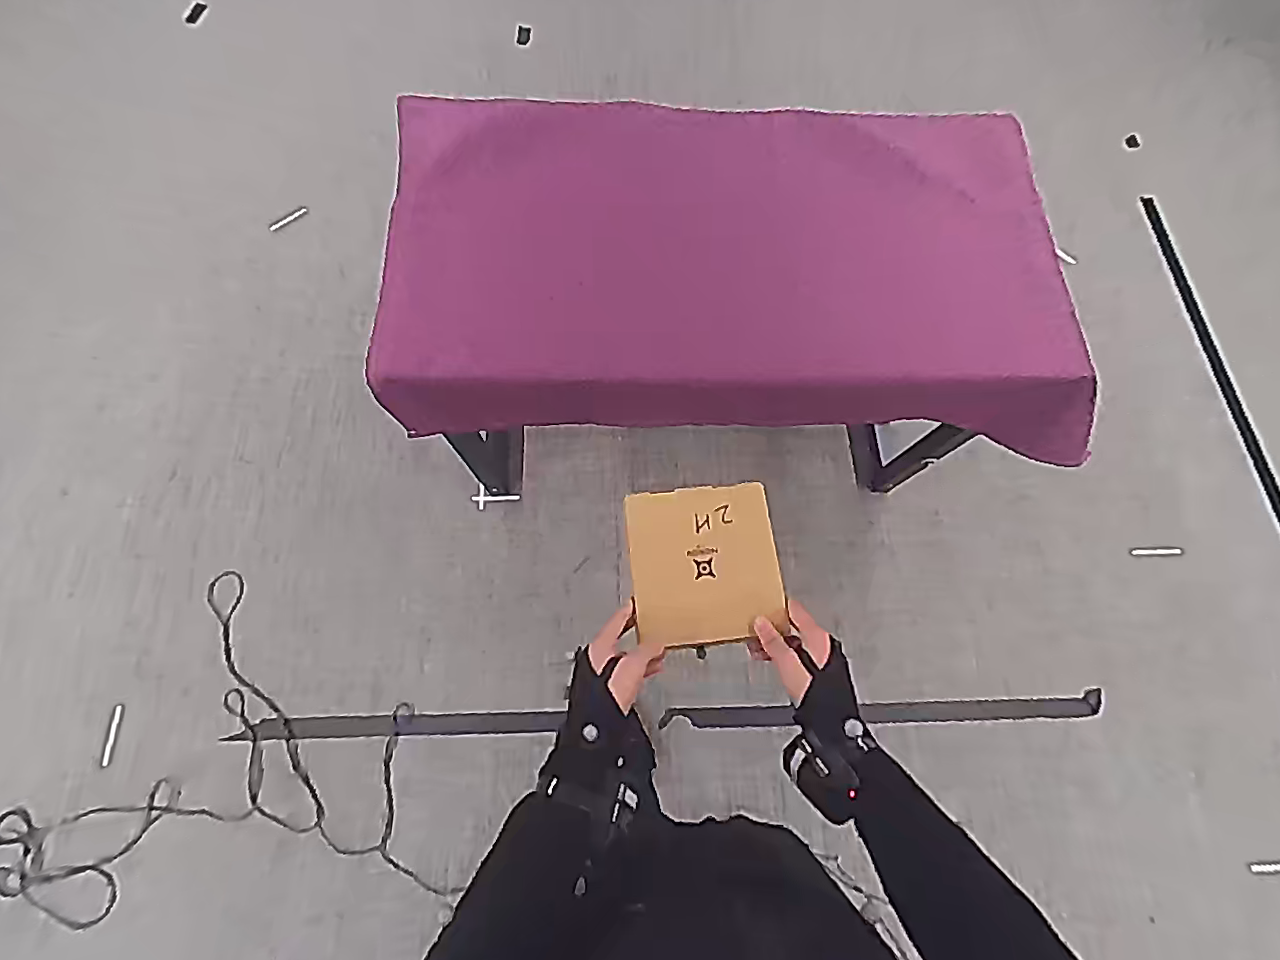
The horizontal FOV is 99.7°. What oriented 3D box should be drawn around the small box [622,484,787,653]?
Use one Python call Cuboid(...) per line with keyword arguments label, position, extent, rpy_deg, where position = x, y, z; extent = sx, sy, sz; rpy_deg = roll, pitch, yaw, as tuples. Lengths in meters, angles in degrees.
Cuboid(label="small box", position=(0.067, 0.117, 0.671), extent=(0.168, 0.176, 0.179), rpy_deg=(-5, 71, -3))
